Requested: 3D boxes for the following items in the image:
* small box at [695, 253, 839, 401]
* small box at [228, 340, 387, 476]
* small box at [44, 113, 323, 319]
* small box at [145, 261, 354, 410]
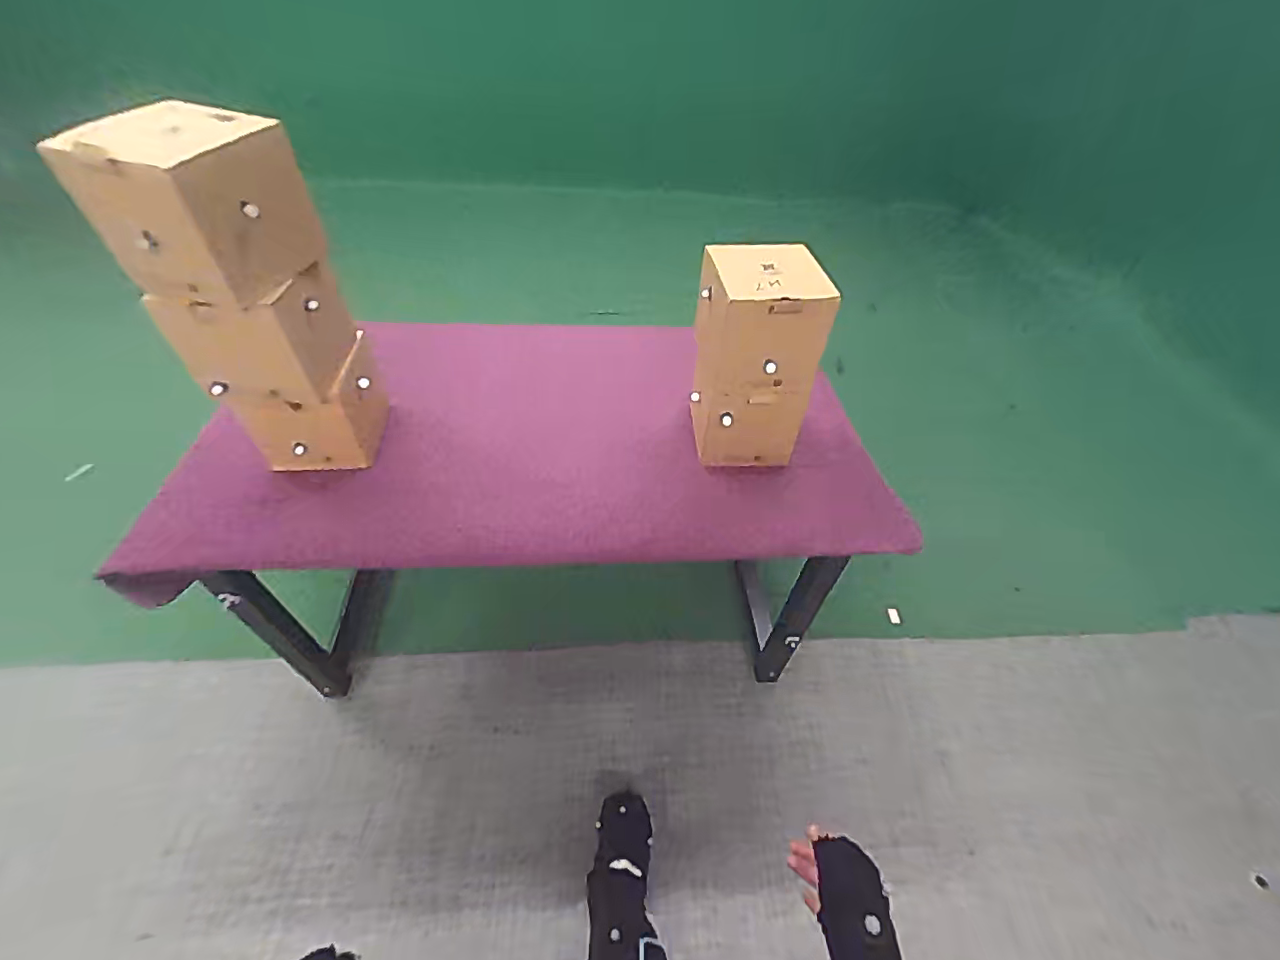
[{"bbox_3d":[0.190,-0.247,0.873,0.168,0.176,0.179,-3,48,-6],"label":"small box"},{"bbox_3d":[-0.558,-0.125,0.941,0.168,0.176,0.179,-2,50,-6],"label":"small box"},{"bbox_3d":[-0.547,-0.331,0.684,0.168,0.176,0.179,16,51,8],"label":"small box"},{"bbox_3d":[-0.557,-0.221,0.806,0.168,0.176,0.179,2,49,-3],"label":"small box"}]
